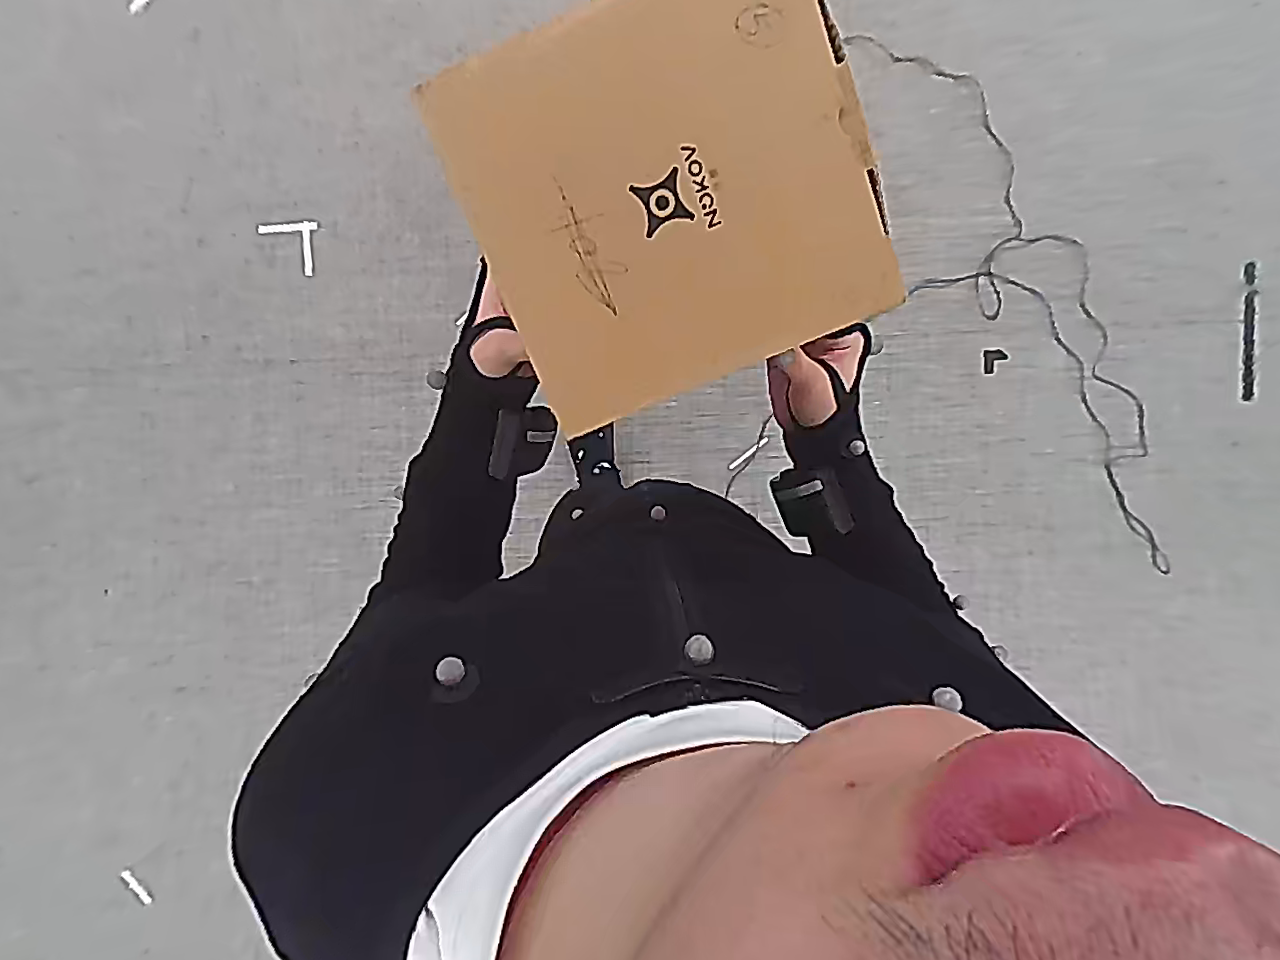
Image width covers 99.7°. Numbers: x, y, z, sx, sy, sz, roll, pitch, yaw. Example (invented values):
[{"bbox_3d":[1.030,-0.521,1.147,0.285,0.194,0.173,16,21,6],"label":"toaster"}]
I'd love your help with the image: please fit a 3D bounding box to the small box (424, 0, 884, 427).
[{"bbox_3d":[0.010,-0.149,0.331,0.179,0.176,0.168,-22,102,5],"label":"small box"}]
